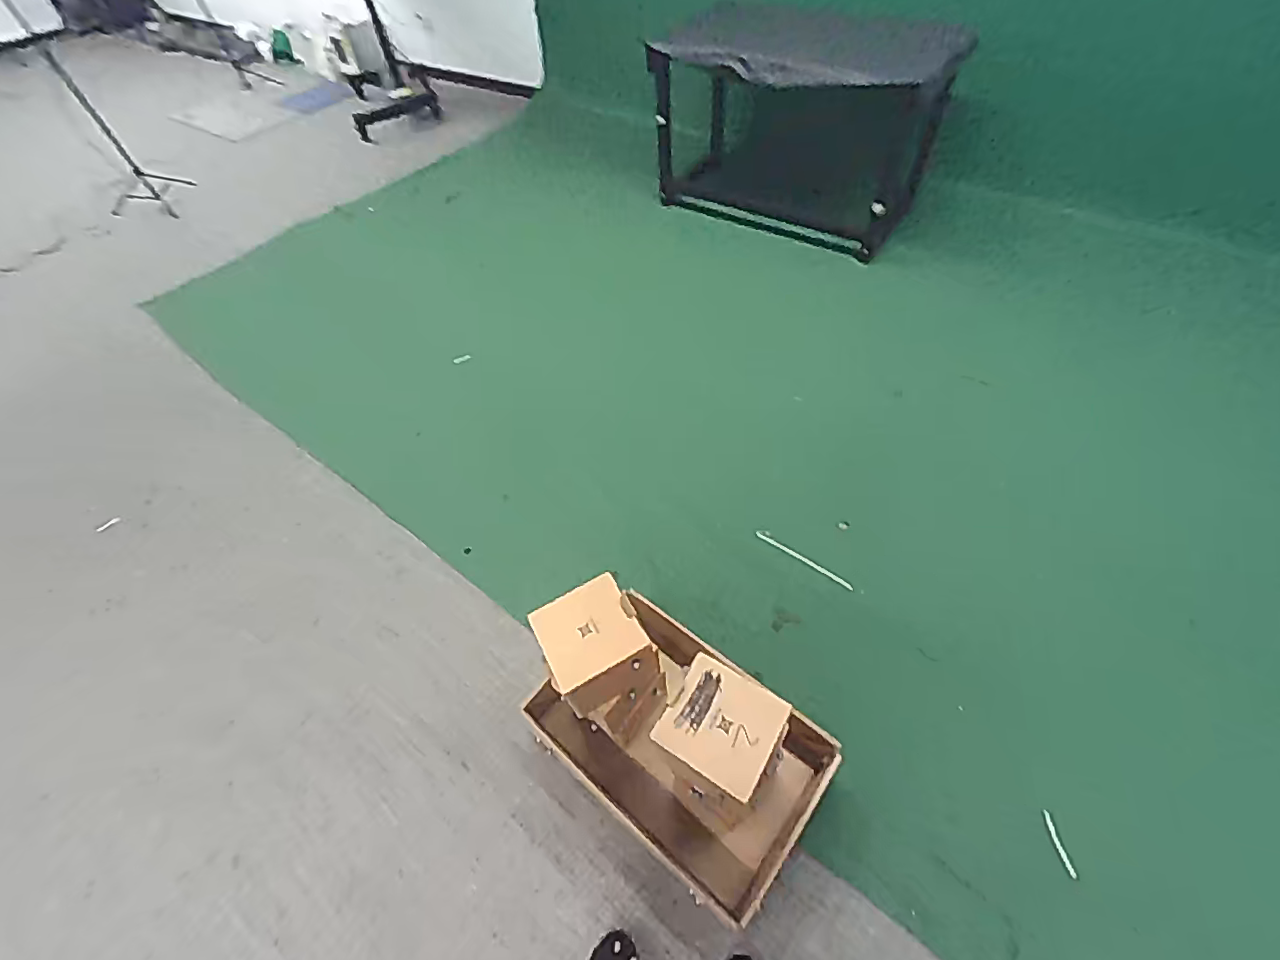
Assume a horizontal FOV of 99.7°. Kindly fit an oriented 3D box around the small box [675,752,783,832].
[{"bbox_3d":[0.184,0.626,1.179,0.168,0.176,0.179,35,64,29],"label":"small box"}]

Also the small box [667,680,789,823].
[{"bbox_3d":[0.168,0.529,1.050,0.168,0.176,0.179,25,61,25],"label":"small box"}]

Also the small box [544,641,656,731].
[{"bbox_3d":[-0.076,0.405,1.160,0.168,0.176,0.179,32,61,24],"label":"small box"}]

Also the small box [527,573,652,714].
[{"bbox_3d":[-0.089,0.314,1.026,0.179,0.176,0.168,-25,56,-15],"label":"small box"}]
